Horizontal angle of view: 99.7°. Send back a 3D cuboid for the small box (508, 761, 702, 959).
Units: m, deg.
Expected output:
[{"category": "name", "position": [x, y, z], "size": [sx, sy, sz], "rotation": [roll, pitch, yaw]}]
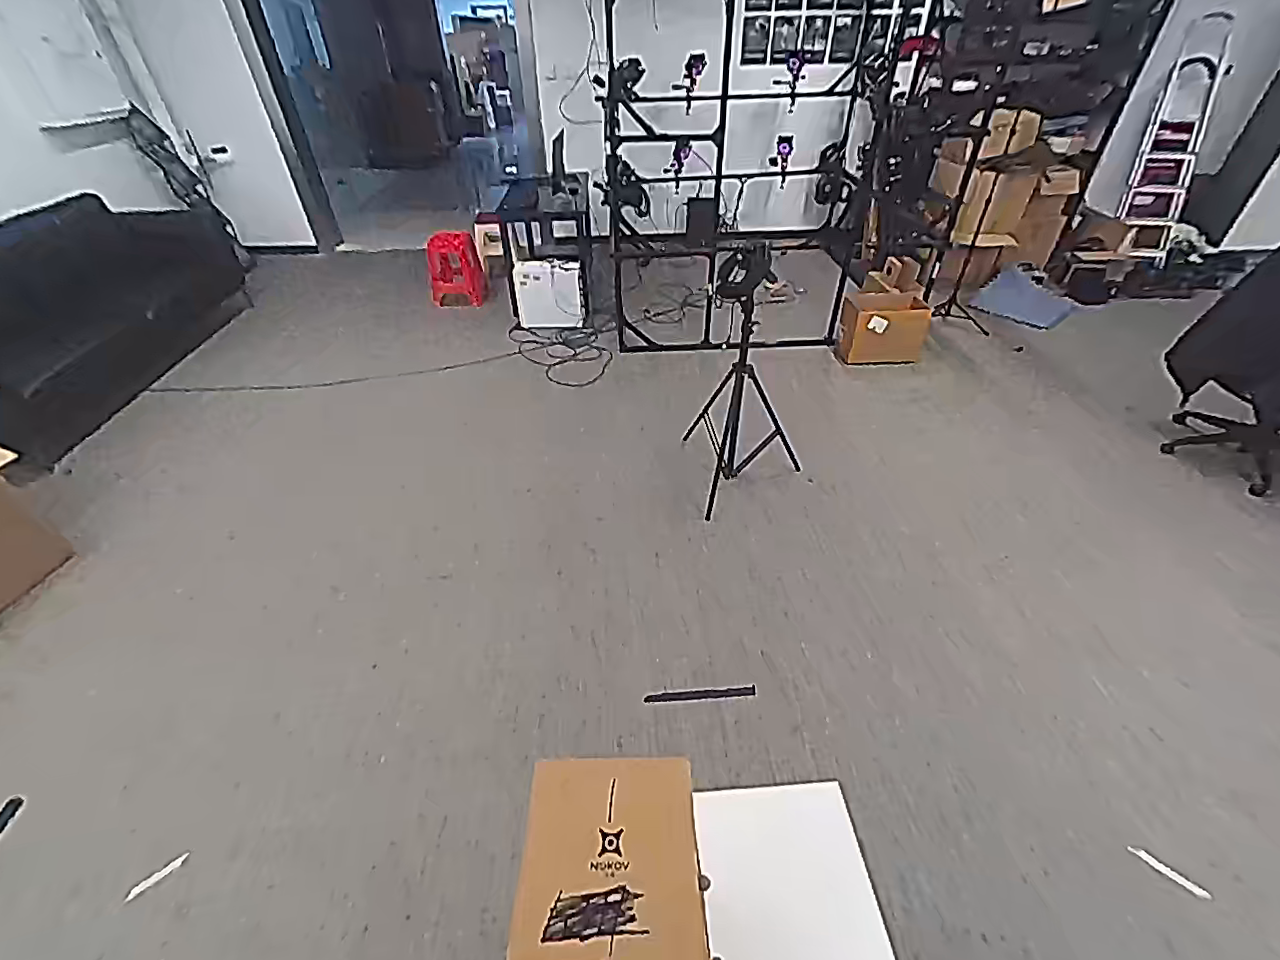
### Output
[{"category": "small box", "position": [-0.025, 0.413, 0.552], "size": [0.168, 0.176, 0.179], "rotation": [-1, 39, 1]}]
